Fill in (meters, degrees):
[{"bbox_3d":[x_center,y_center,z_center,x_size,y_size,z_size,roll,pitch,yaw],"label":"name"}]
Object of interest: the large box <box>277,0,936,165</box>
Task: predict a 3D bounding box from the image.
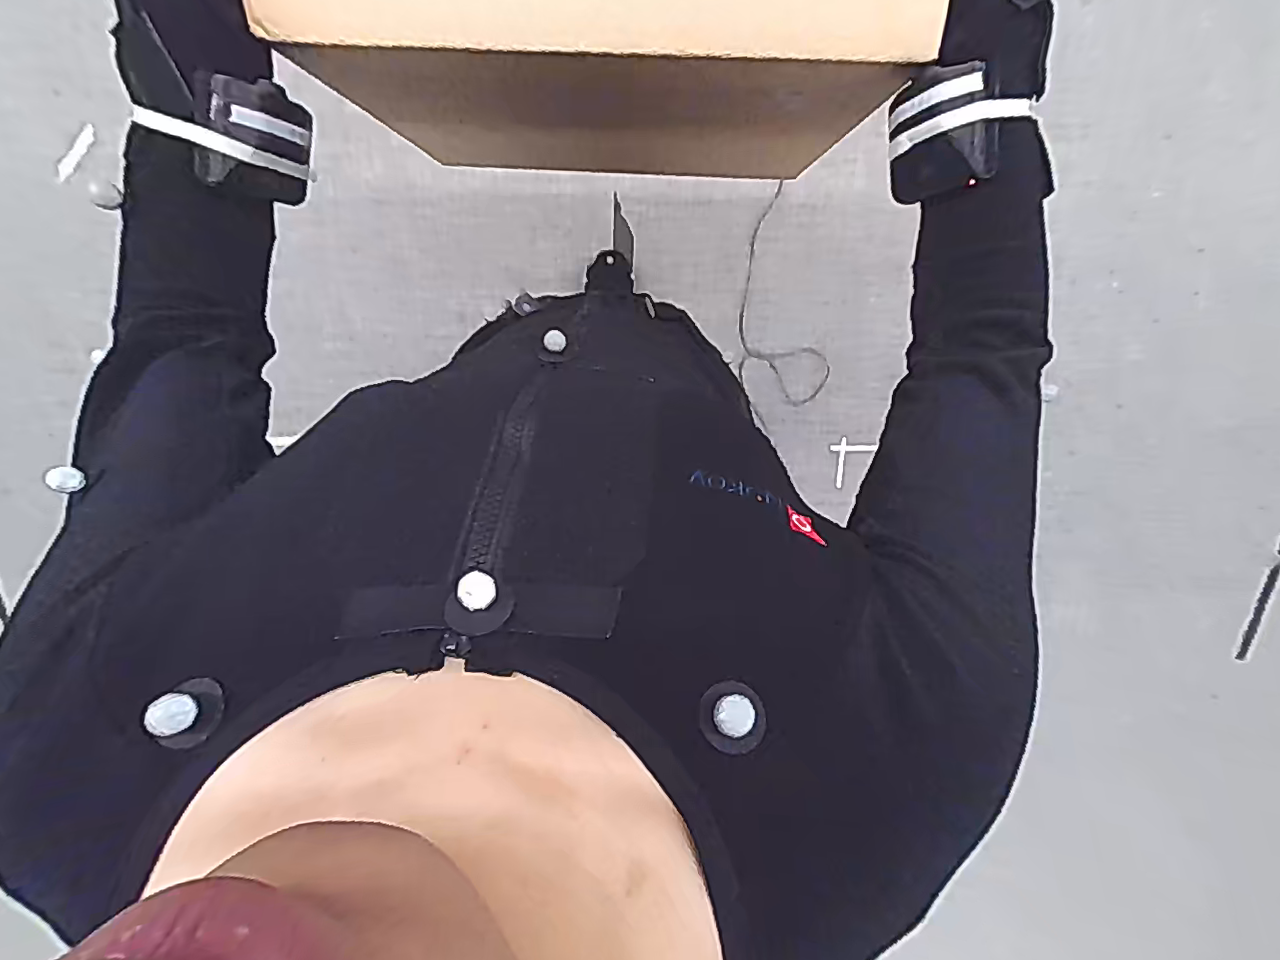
[{"bbox_3d":[-0.020,-0.460,0.426,0.408,0.320,0.320,2,108,0],"label":"large box"}]
